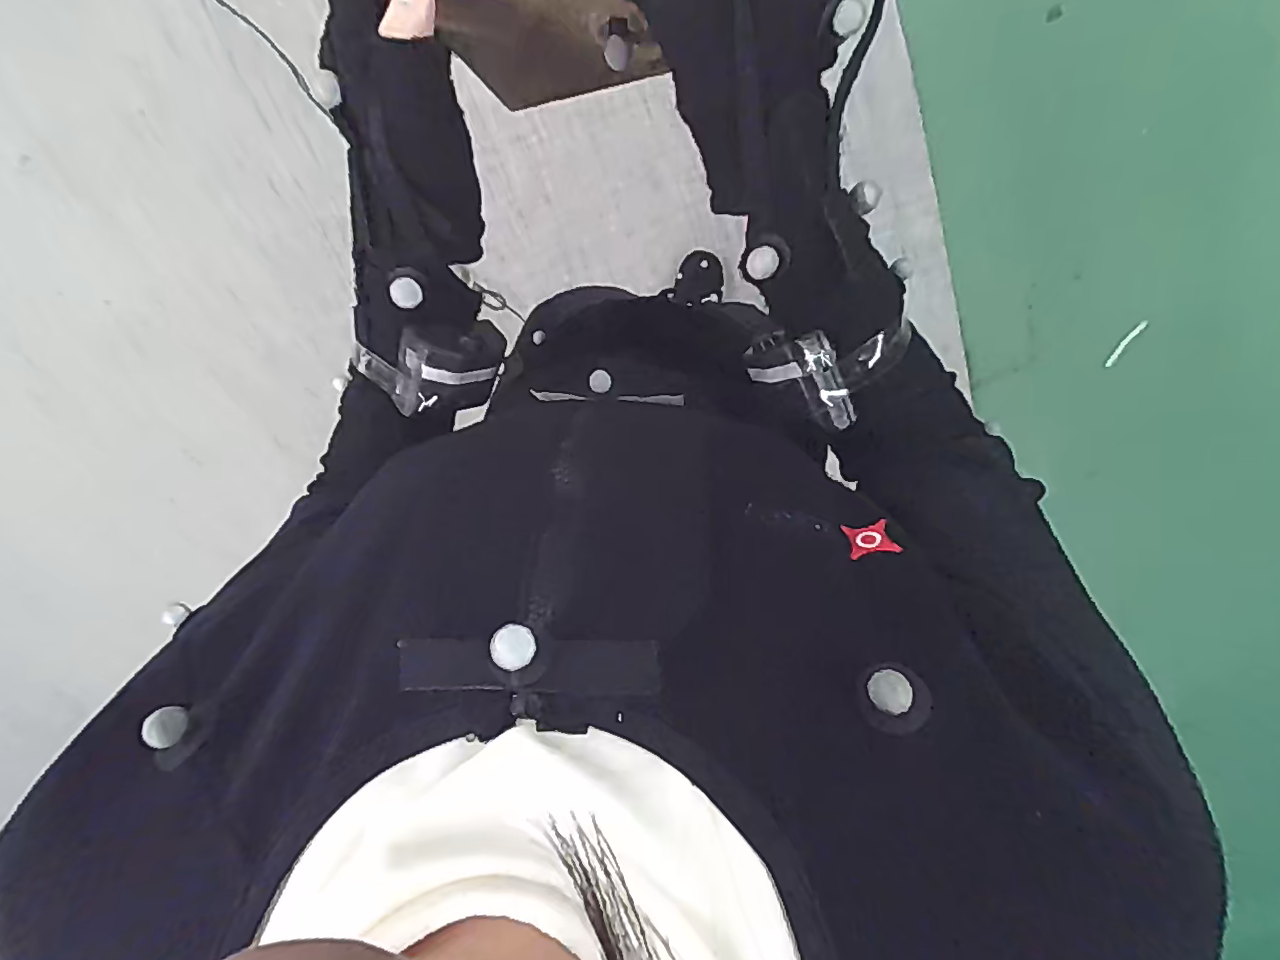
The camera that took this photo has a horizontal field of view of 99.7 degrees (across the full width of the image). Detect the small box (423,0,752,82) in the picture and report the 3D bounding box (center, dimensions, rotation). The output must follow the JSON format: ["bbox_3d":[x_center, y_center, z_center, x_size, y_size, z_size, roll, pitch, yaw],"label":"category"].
[{"bbox_3d":[-0.029,-0.326,0.260,0.168,0.176,0.179,-10,108,7],"label":"small box"}]
